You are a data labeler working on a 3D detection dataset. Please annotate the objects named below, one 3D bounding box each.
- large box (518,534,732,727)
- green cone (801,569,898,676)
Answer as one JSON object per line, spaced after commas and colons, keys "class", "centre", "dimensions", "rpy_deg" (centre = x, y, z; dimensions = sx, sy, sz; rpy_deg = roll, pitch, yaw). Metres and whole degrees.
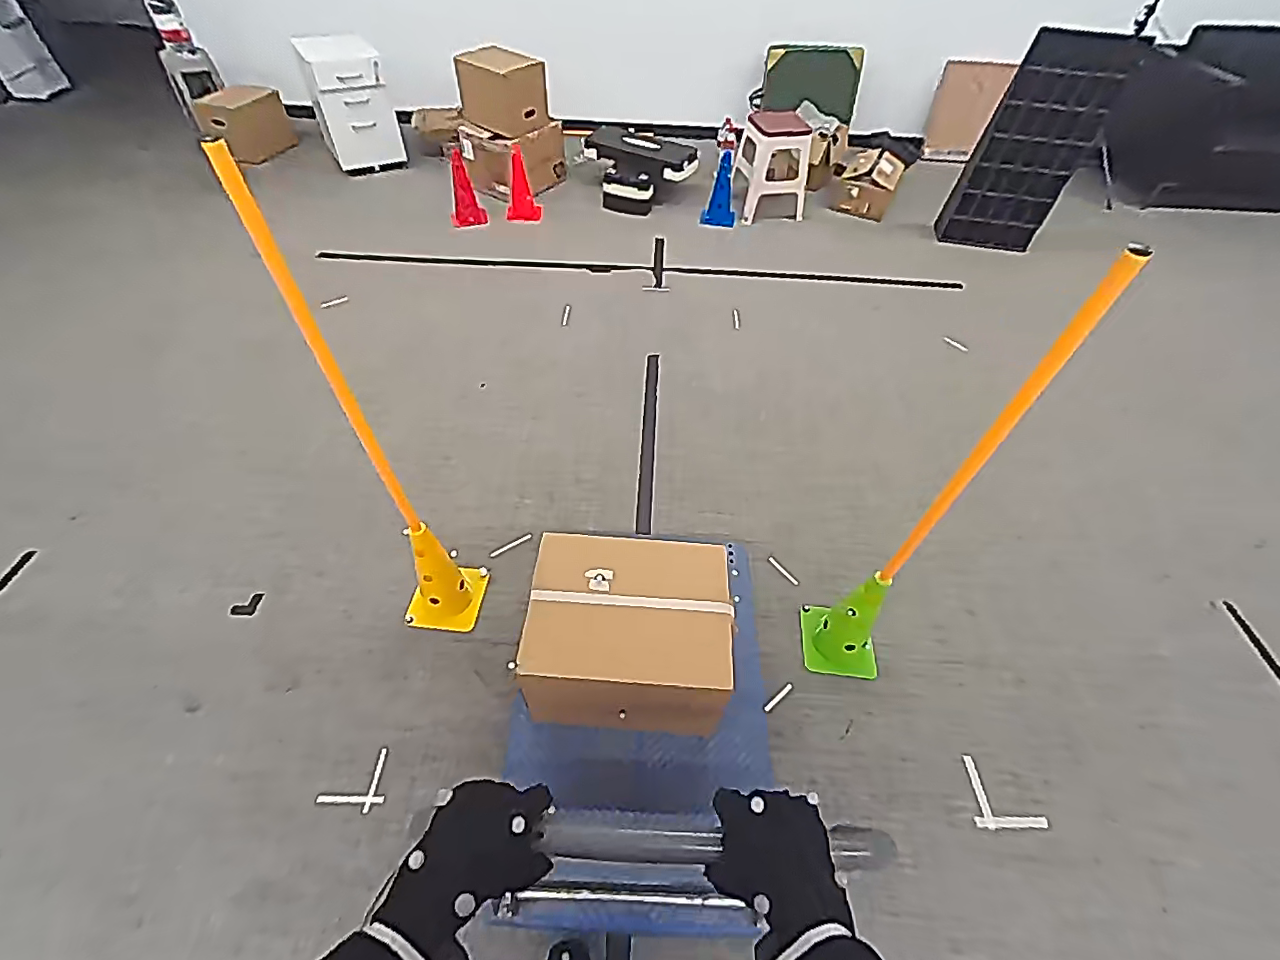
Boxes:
{"class": "large box", "centre": [-0.022, 0.341, 1.202], "dimensions": [0.408, 0.320, 0.320], "rpy_deg": [4, 51, 2]}
{"class": "green cone", "centre": [0.577, 0.344, 1.416], "dimensions": [0.202, 0.368, 0.200], "rpy_deg": [7, 50, 2]}
